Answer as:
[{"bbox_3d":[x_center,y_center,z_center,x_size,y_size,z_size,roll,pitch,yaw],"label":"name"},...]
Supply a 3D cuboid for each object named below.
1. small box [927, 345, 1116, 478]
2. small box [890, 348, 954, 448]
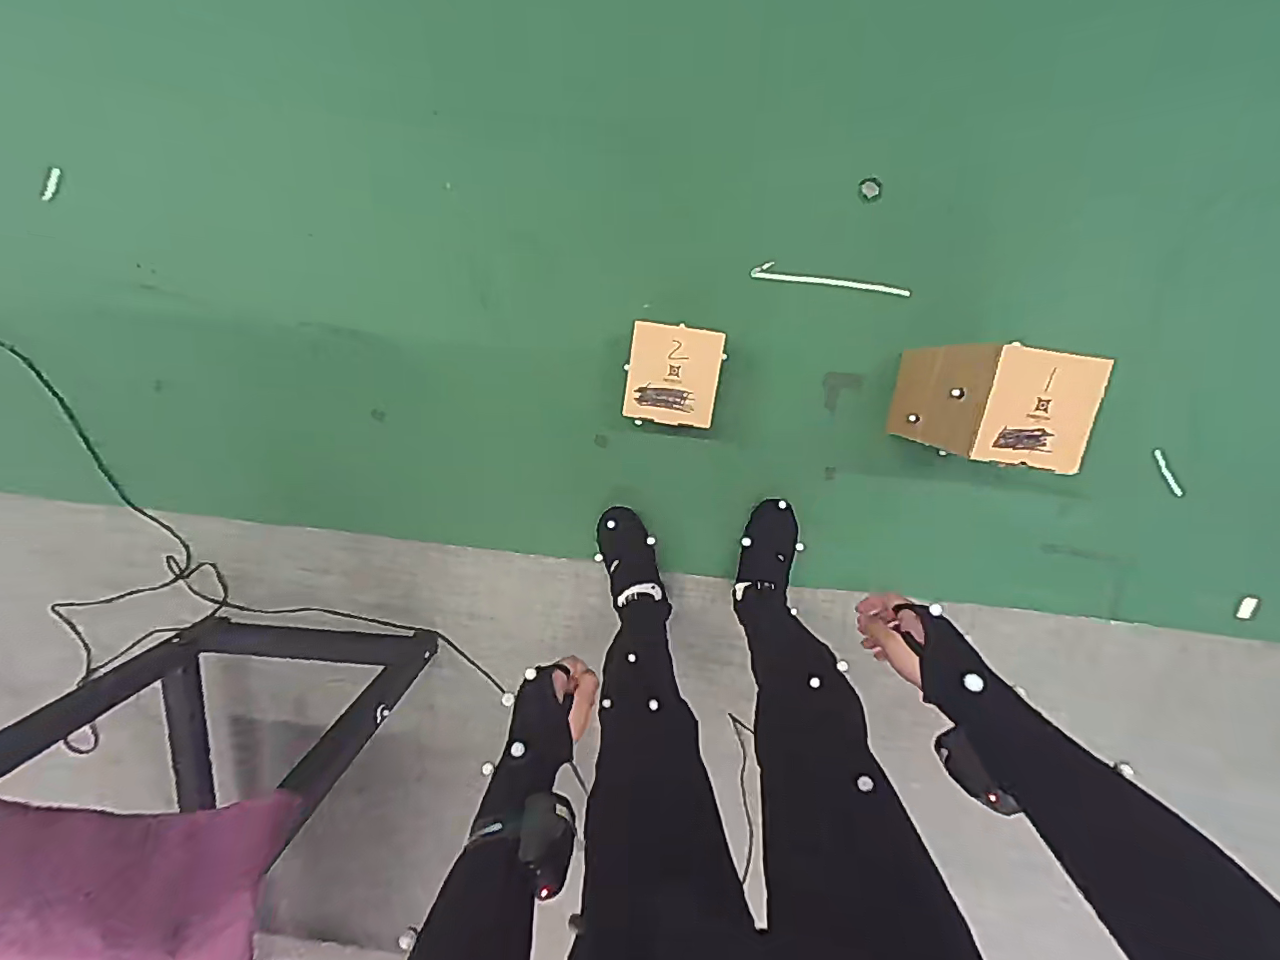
[{"bbox_3d":[0.599,-0.117,0.878,0.168,0.176,0.179,9,102,0],"label":"small box"},{"bbox_3d":[0.607,-0.152,1.039,0.168,0.176,0.179,8,103,1],"label":"small box"}]
